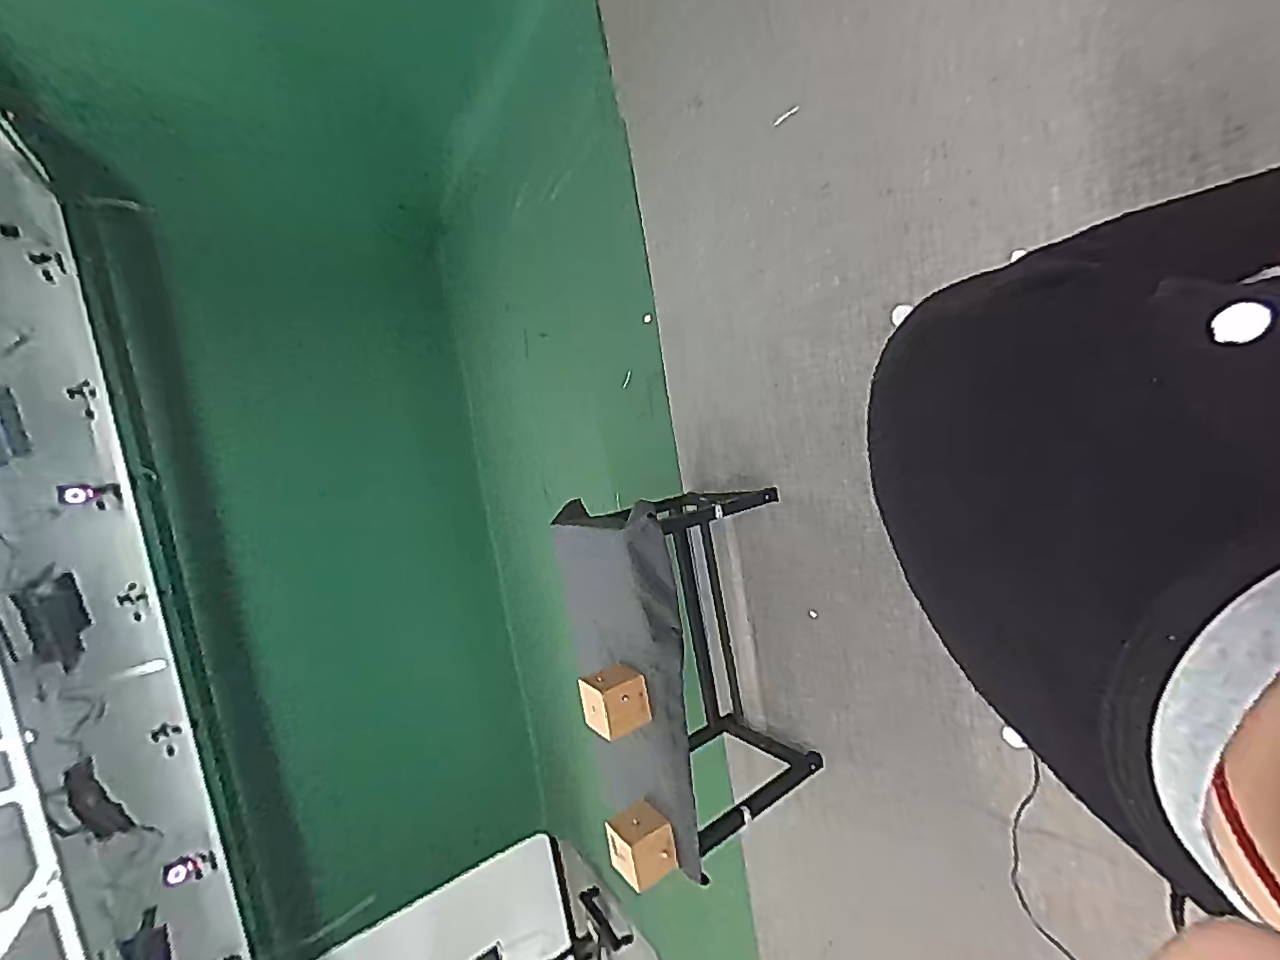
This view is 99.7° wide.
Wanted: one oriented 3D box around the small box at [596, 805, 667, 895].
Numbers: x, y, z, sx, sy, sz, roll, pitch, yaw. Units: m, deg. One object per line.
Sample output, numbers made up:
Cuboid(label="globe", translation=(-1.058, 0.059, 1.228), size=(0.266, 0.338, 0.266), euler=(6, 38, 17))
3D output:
Cuboid(label="small box", translation=(-0.030, 1.268, 1.871), size=(0.179, 0.176, 0.168), euler=(-4, 97, 56))

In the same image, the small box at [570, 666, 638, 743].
Cuboid(label="small box", translation=(-0.116, 0.754, 1.837), size=(0.179, 0.176, 0.168), euler=(-5, 95, 58))
